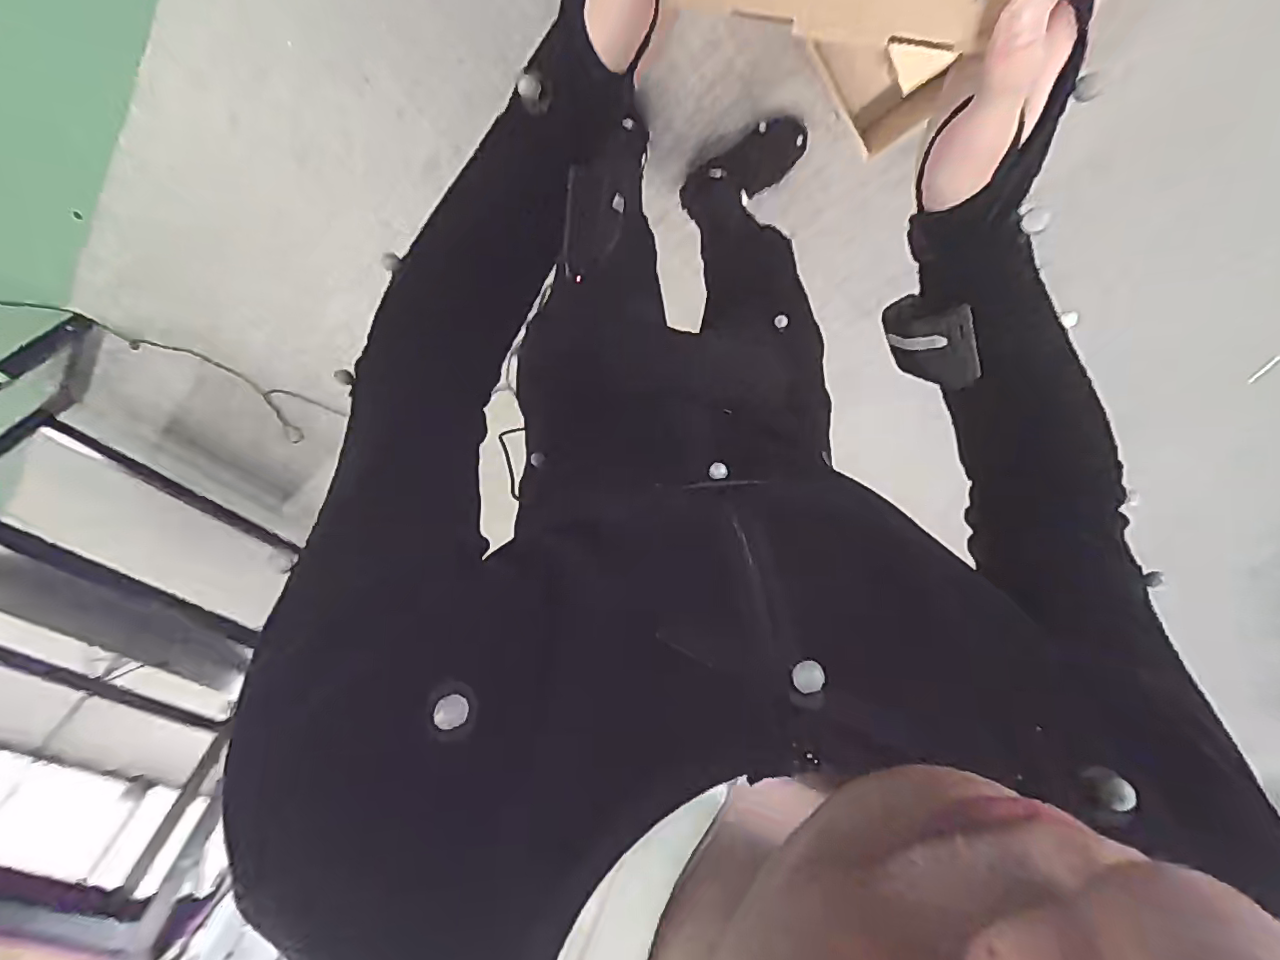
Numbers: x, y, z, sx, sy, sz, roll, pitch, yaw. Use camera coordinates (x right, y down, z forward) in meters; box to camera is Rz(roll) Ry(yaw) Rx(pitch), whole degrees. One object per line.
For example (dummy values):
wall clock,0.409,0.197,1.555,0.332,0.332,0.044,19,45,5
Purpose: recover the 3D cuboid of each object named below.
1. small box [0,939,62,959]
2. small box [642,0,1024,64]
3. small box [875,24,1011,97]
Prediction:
small box,-1.466,1.140,1.203,0.179,0.176,0.168,39,131,-25
small box,0.098,-0.310,0.203,0.168,0.176,0.179,11,156,3
small box,0.478,-0.790,0.895,0.168,0.176,0.179,-23,127,30
